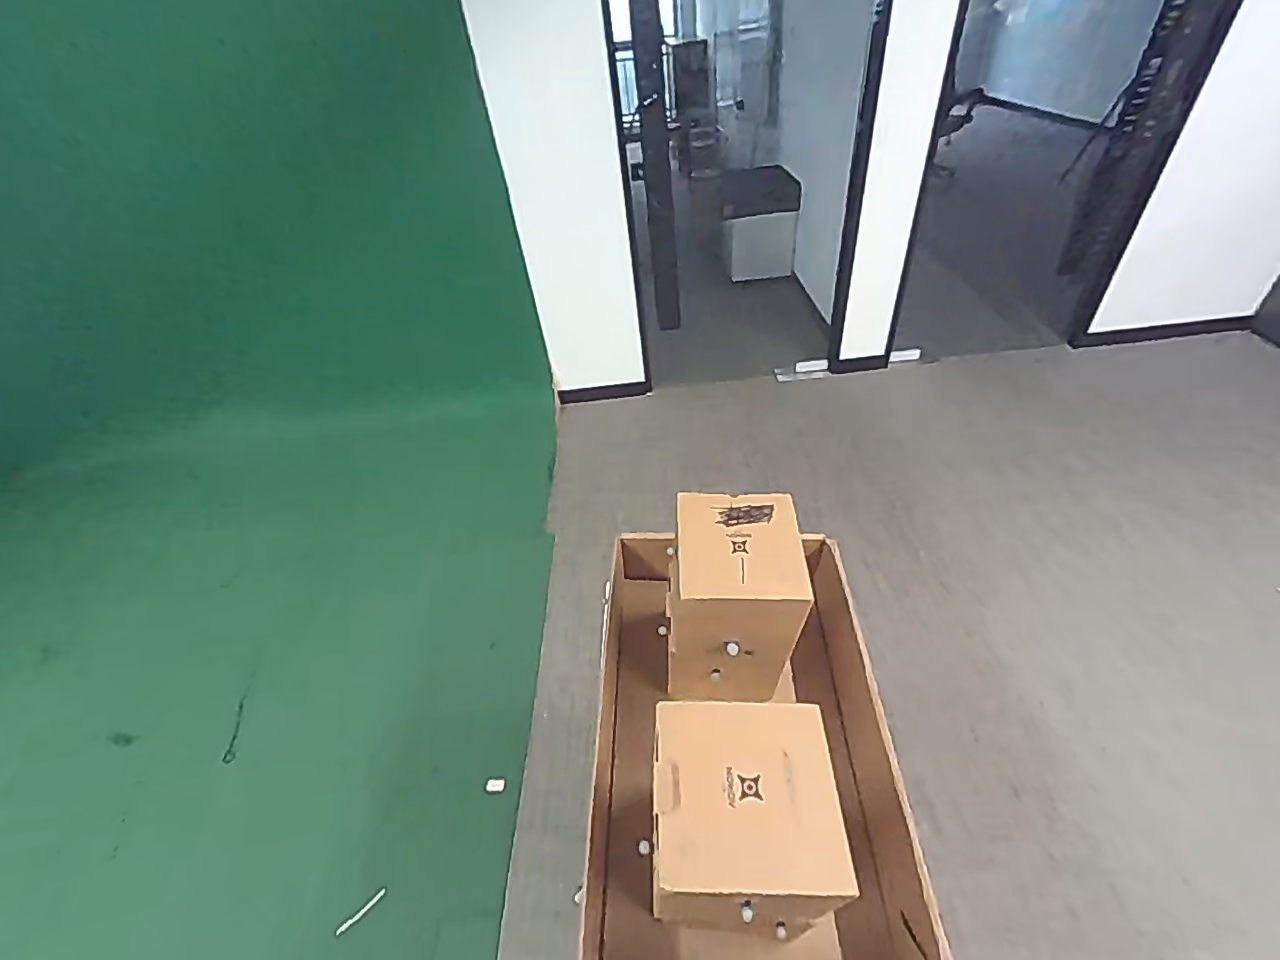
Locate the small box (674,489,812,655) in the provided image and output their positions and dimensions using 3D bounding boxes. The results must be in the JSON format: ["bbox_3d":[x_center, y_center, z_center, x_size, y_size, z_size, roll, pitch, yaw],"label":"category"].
[{"bbox_3d":[0.134,0.132,0.780,0.168,0.176,0.179,0,48,2],"label":"small box"}]

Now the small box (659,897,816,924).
[{"bbox_3d":[0.115,0.458,0.702,0.179,0.176,0.168,3,46,4],"label":"small box"}]

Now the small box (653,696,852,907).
[{"bbox_3d":[0.102,0.349,0.583,0.179,0.176,0.168,1,47,0],"label":"small box"}]

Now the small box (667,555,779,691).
[{"bbox_3d":[0.135,0.240,0.903,0.179,0.176,0.168,1,48,3],"label":"small box"}]
